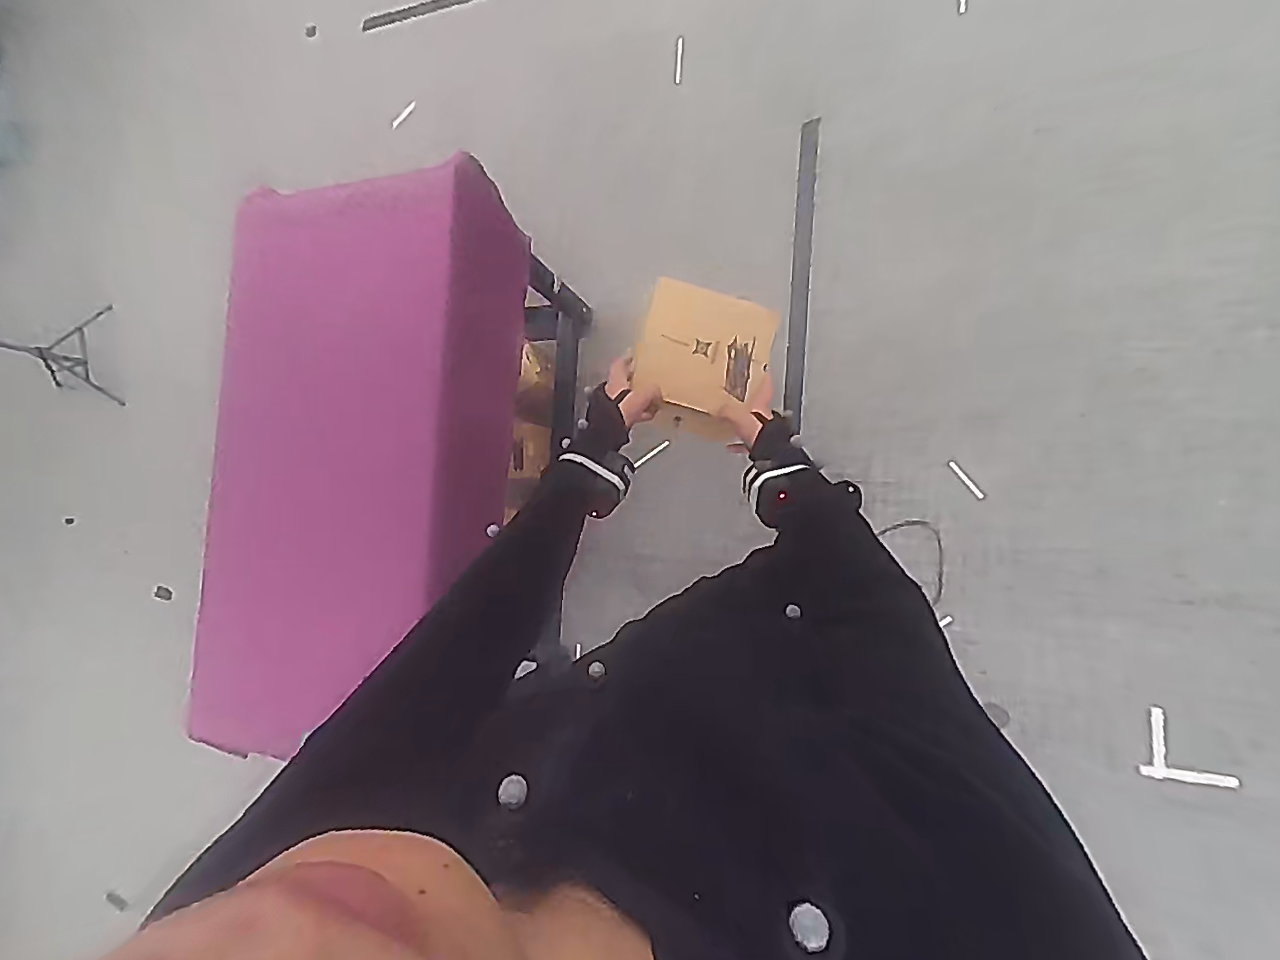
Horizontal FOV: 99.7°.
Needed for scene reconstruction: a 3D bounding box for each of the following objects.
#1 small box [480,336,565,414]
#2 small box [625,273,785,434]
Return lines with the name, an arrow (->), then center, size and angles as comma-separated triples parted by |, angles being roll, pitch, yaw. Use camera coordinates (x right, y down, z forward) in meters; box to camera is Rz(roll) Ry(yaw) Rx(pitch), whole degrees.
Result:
small box -> -0.374, -0.328, 1.742 | 0.179, 0.176, 0.168 | -27, 79, 15
small box -> 0.085, -0.172, 0.798 | 0.179, 0.176, 0.168 | 16, 85, -5
